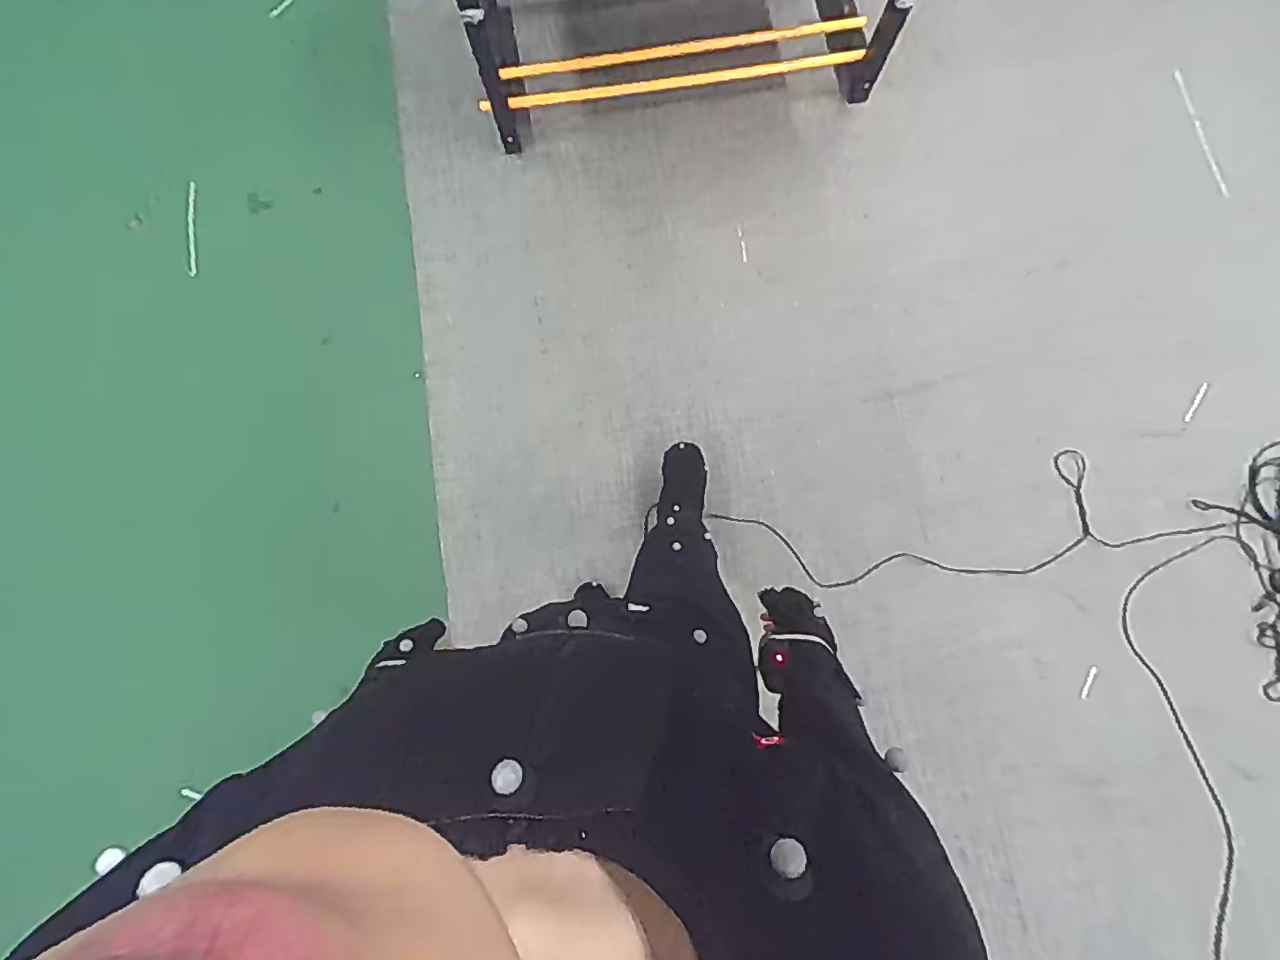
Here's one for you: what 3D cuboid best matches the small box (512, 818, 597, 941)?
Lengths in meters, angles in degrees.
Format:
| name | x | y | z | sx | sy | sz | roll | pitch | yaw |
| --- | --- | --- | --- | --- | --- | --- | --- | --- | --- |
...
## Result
| name | x | y | z | sx | sy | sz | roll | pitch | yaw |
| --- | --- | --- | --- | --- | --- | --- | --- | --- | --- |
| small box | -0.197 | 0.930 | 1.281 | 0.168 | 0.176 | 0.179 | -9 | 80 | -1 |
